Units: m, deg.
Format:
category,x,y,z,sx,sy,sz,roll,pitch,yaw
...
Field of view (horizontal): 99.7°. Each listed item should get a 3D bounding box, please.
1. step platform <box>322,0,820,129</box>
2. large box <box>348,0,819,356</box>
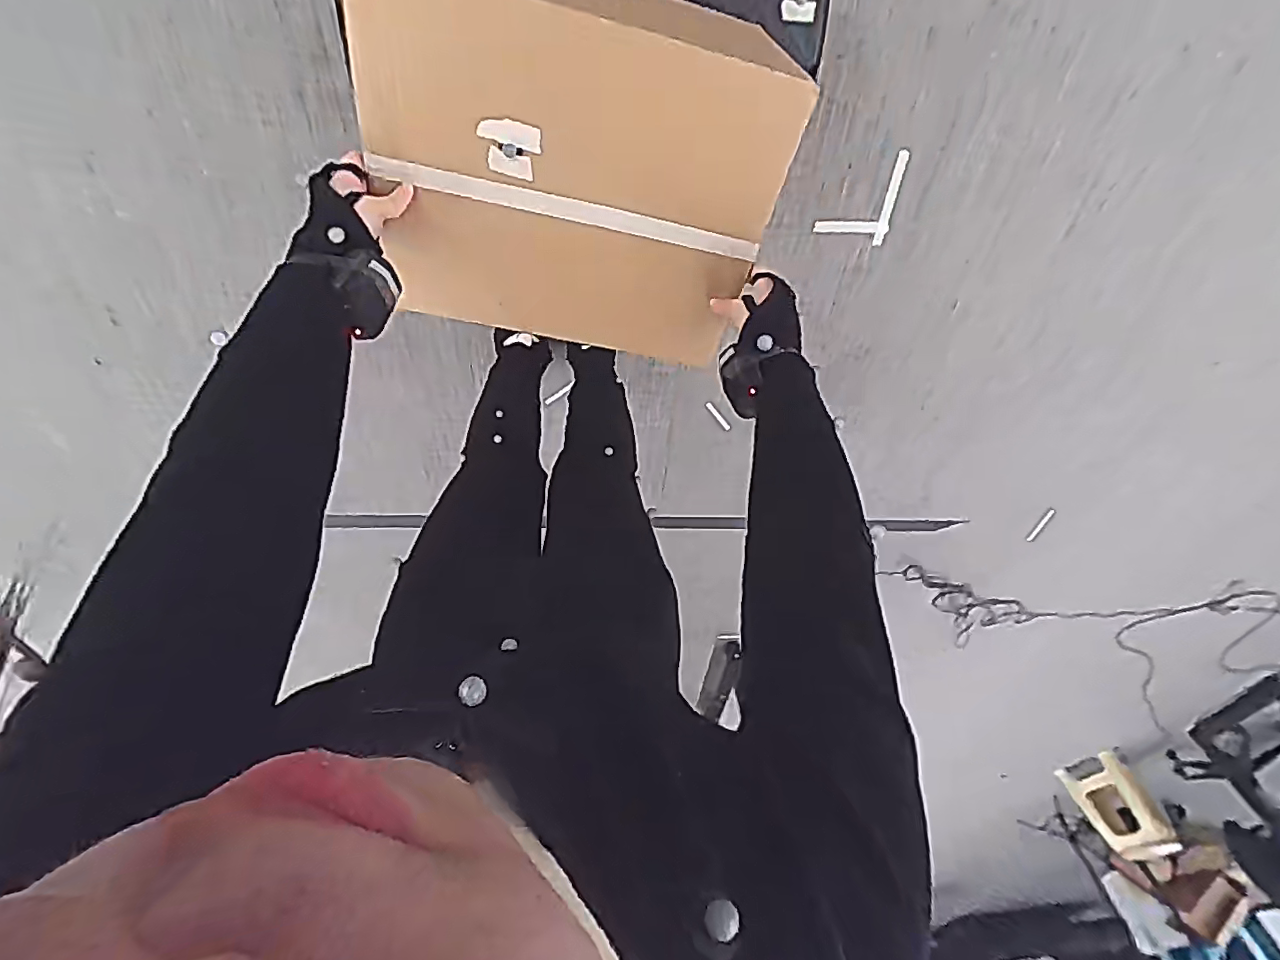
category,x,y,z,sx,sy,sz,roll,pitch,yaw
step platform,-0.091,-0.636,0.815,0.684,0.204,0.286,6,130,-10
large box,-0.065,-0.392,0.649,0.408,0.320,0.320,9,136,-9
